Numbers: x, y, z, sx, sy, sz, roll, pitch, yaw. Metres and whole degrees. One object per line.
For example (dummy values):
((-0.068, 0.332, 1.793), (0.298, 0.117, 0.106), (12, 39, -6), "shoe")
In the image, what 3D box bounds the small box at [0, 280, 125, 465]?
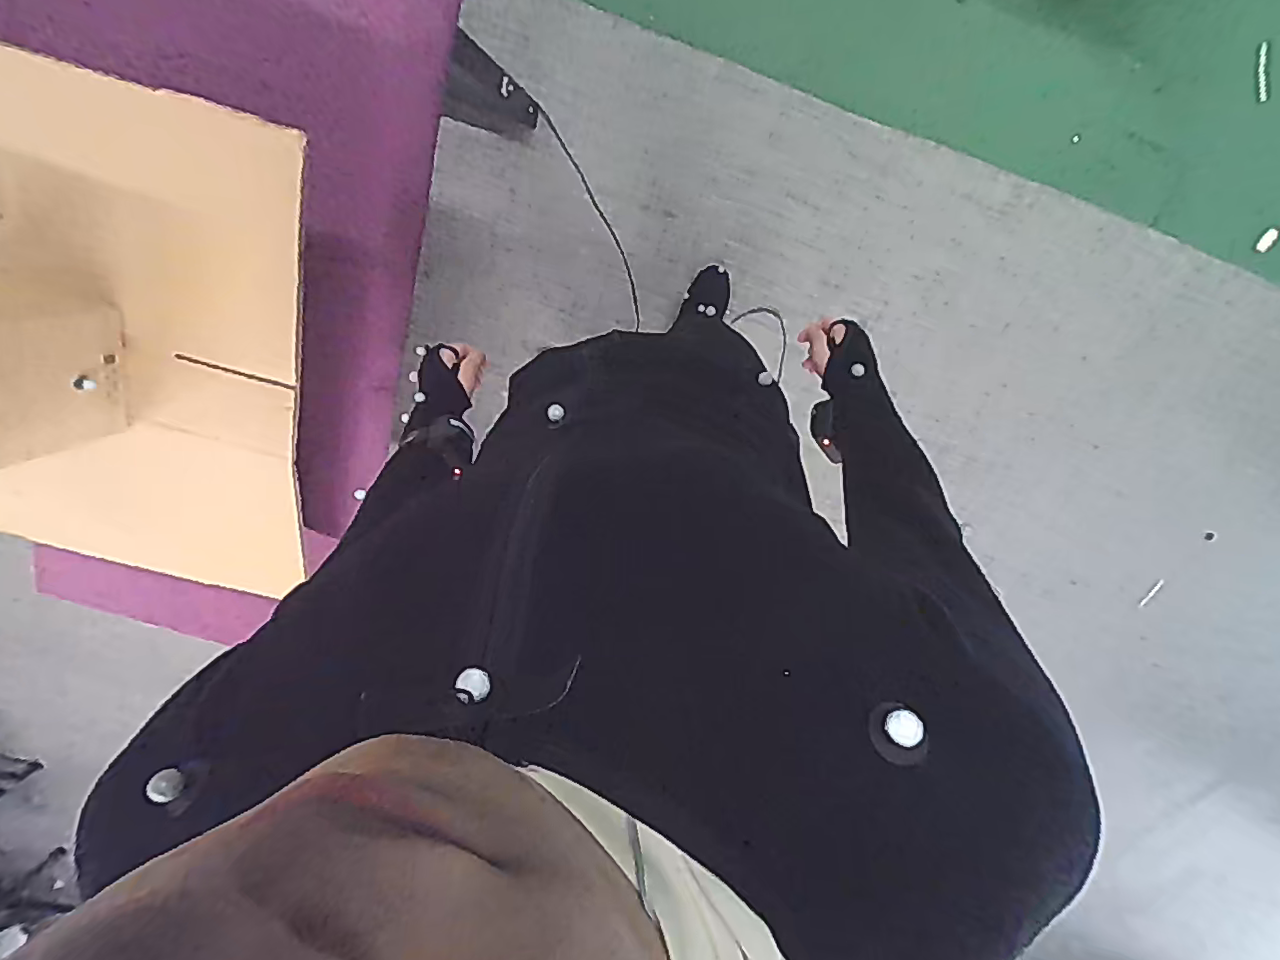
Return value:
((-0.752, -0.128, 0.616), (0.179, 0.176, 0.168), (17, 111, -3), "small box")
